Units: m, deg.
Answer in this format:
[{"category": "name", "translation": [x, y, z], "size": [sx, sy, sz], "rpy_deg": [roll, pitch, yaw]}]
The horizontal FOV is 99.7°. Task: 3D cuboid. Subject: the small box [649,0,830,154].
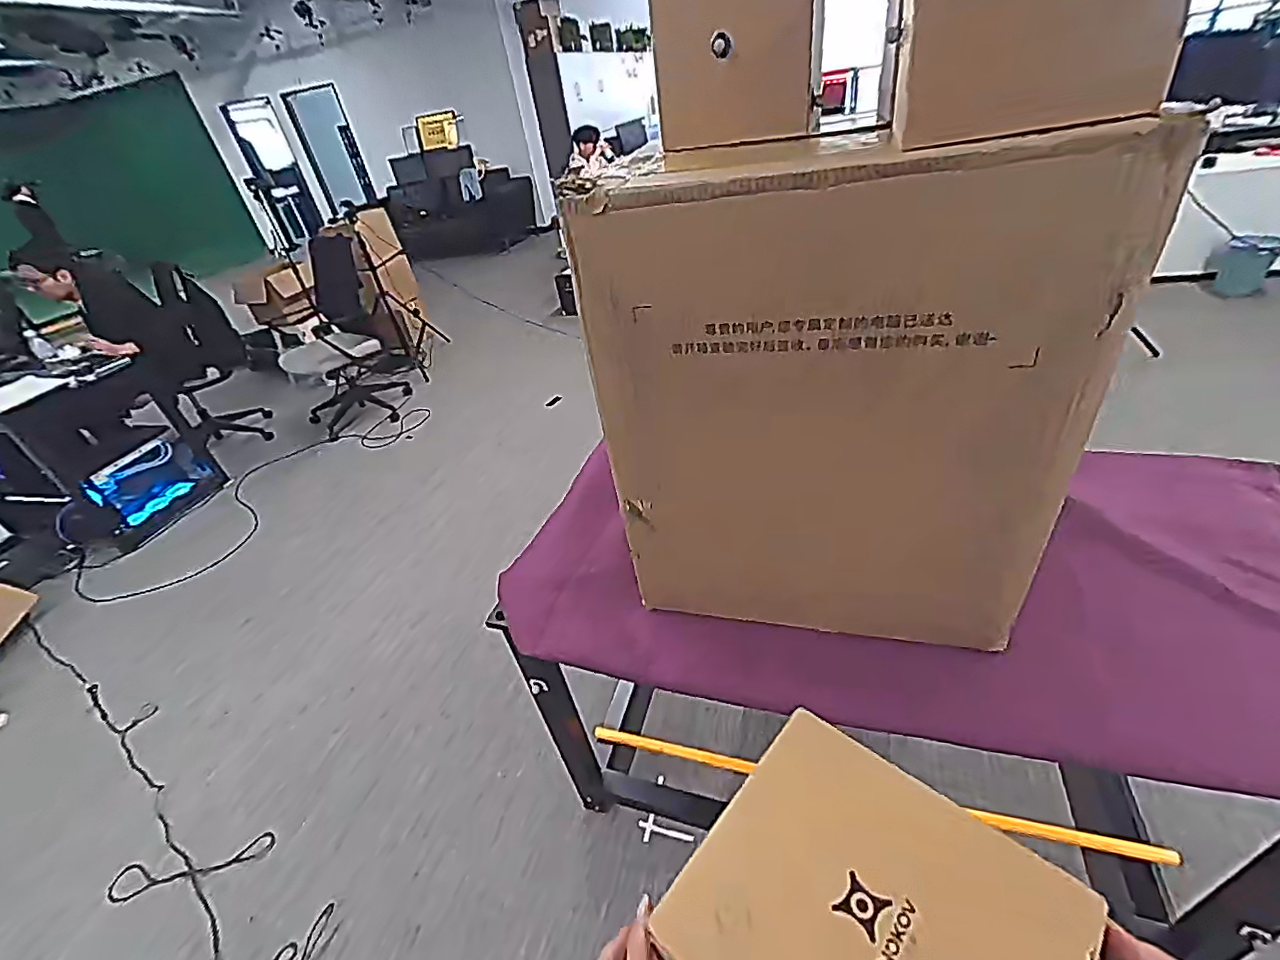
[{"category": "small box", "translation": [0.127, -0.503, 0.641], "size": [0.179, 0.176, 0.168], "rpy_deg": [6, 37, 22]}]
